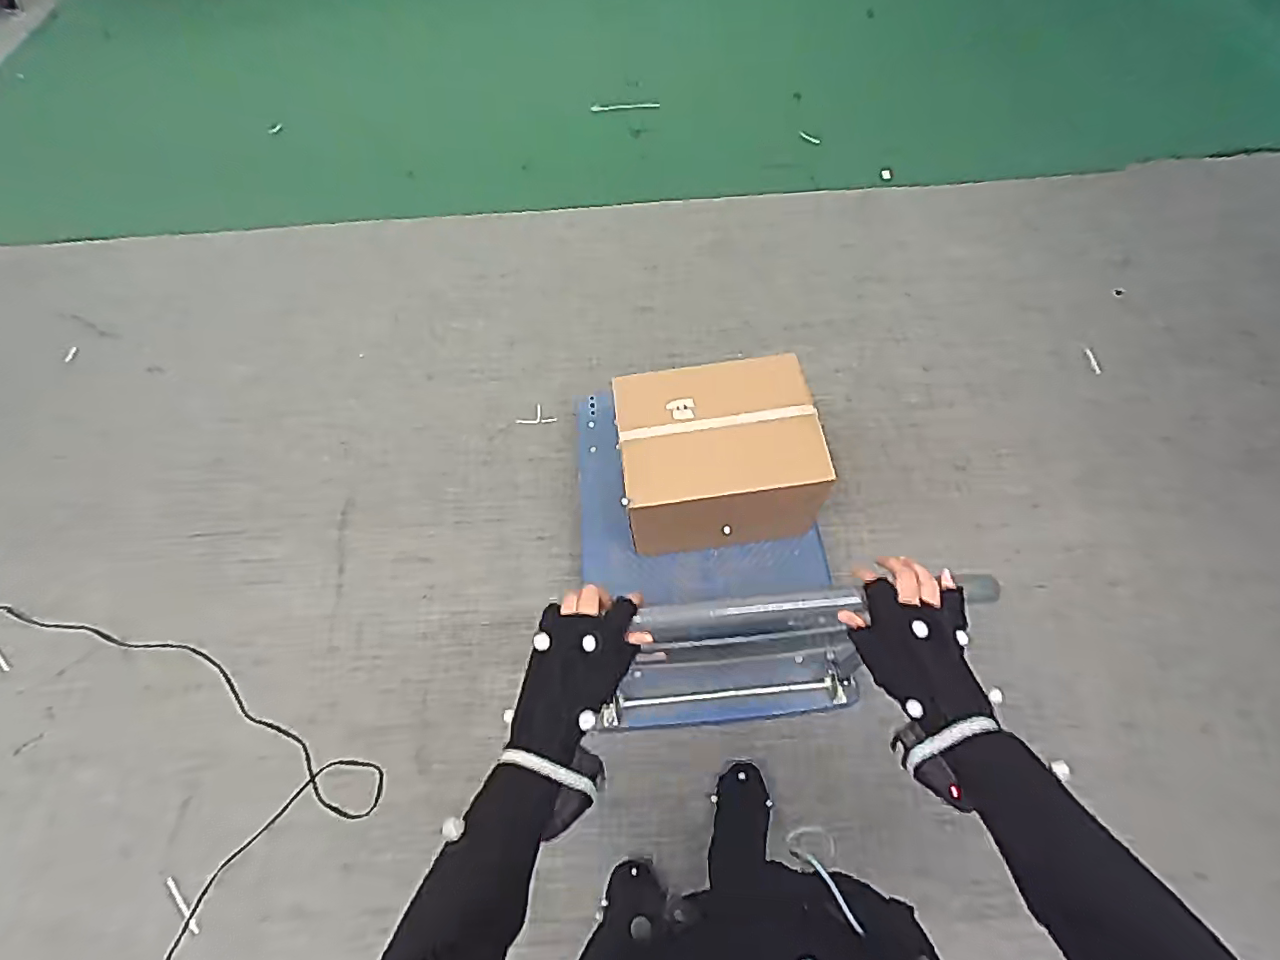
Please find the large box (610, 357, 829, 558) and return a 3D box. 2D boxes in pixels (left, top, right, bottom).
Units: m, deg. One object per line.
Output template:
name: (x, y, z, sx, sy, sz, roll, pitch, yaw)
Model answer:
large box: (0.163, -0.037, 1.239, 0.408, 0.320, 0.320, -9, 63, 1)
